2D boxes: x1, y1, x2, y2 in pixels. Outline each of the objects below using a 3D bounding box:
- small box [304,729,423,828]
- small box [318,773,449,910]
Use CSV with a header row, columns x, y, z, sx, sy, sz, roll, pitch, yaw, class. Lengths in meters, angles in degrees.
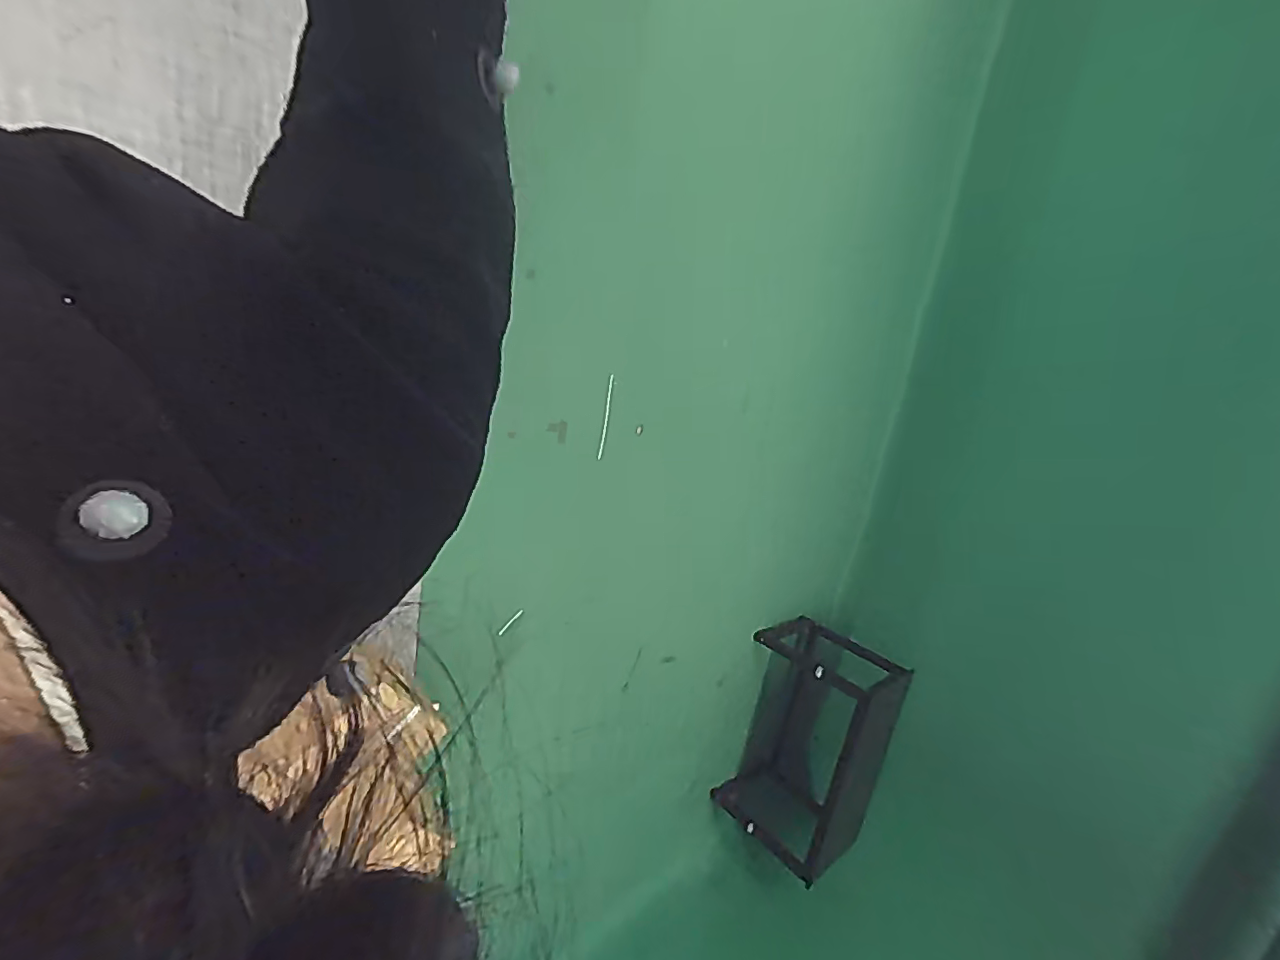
x,y,z,sx,sy,sz,roll,pitch,yaw,class
-0.669,0.744,1.309,0.168,0.176,0.179,-43,131,-24,small box
-0.564,0.789,1.193,0.168,0.176,0.179,-45,133,-22,small box
